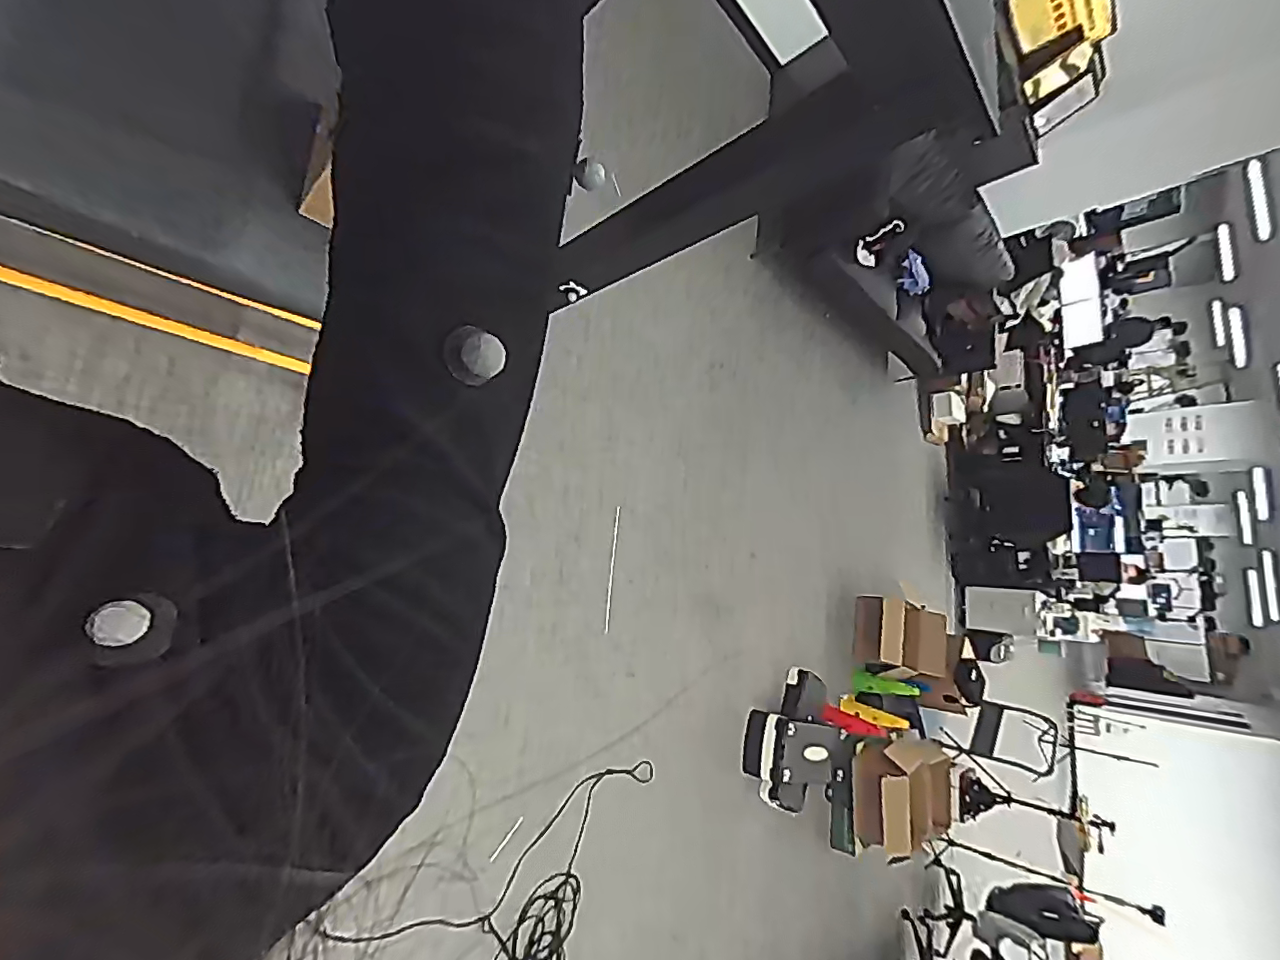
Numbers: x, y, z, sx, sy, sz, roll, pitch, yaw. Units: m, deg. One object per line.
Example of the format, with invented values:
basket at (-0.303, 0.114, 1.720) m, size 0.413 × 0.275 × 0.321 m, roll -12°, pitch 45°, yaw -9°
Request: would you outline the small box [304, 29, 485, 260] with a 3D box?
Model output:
small box at (-0.338, -0.436, 0.741) m, size 0.168 × 0.176 × 0.179 m, roll 16°, pitch 74°, yaw -44°
